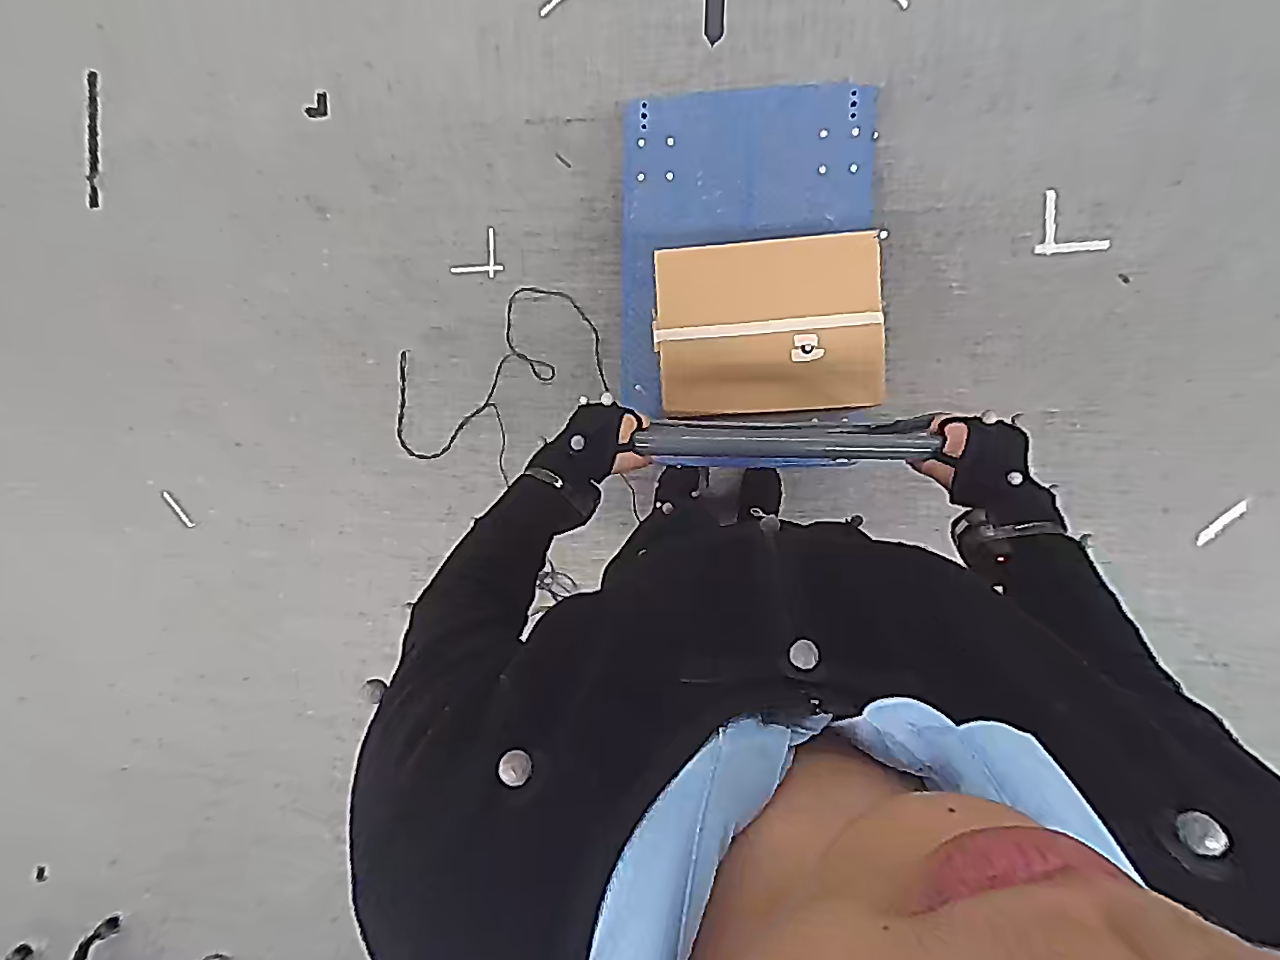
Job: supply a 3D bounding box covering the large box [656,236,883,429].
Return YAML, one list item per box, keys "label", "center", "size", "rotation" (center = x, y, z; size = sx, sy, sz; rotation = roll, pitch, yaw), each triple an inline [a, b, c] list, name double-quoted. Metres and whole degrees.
- label: "large box"
  center: [0.250, -0.283, 1.149]
  size: [0.408, 0.320, 0.320]
  rotation: [-3, 93, 5]
